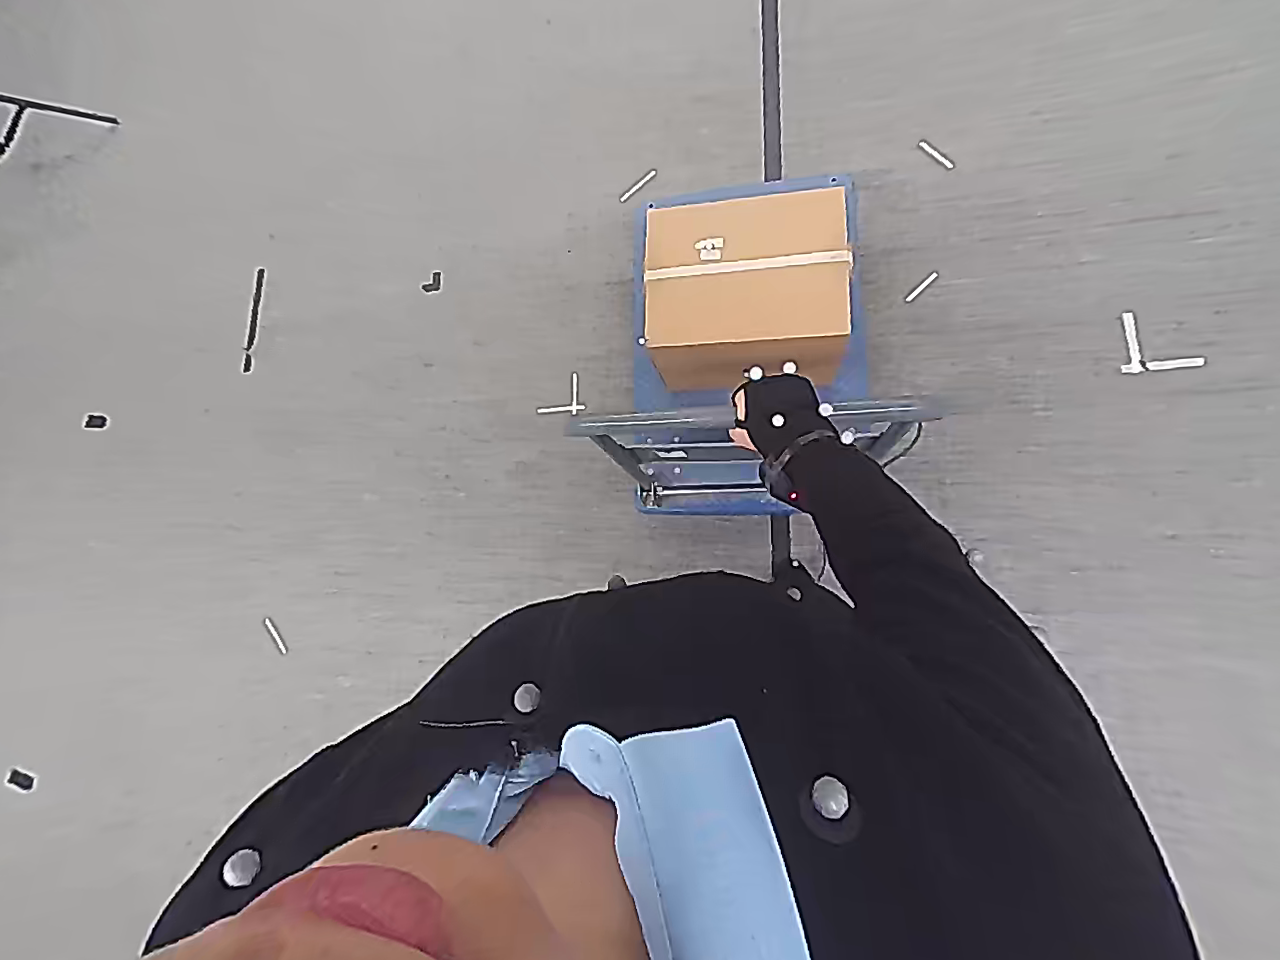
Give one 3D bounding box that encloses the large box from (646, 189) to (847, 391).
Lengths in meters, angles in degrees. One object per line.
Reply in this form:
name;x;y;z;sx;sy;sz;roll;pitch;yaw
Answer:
large box;0.242;-0.408;1.253;0.408;0.320;0.320;-2;80;13
